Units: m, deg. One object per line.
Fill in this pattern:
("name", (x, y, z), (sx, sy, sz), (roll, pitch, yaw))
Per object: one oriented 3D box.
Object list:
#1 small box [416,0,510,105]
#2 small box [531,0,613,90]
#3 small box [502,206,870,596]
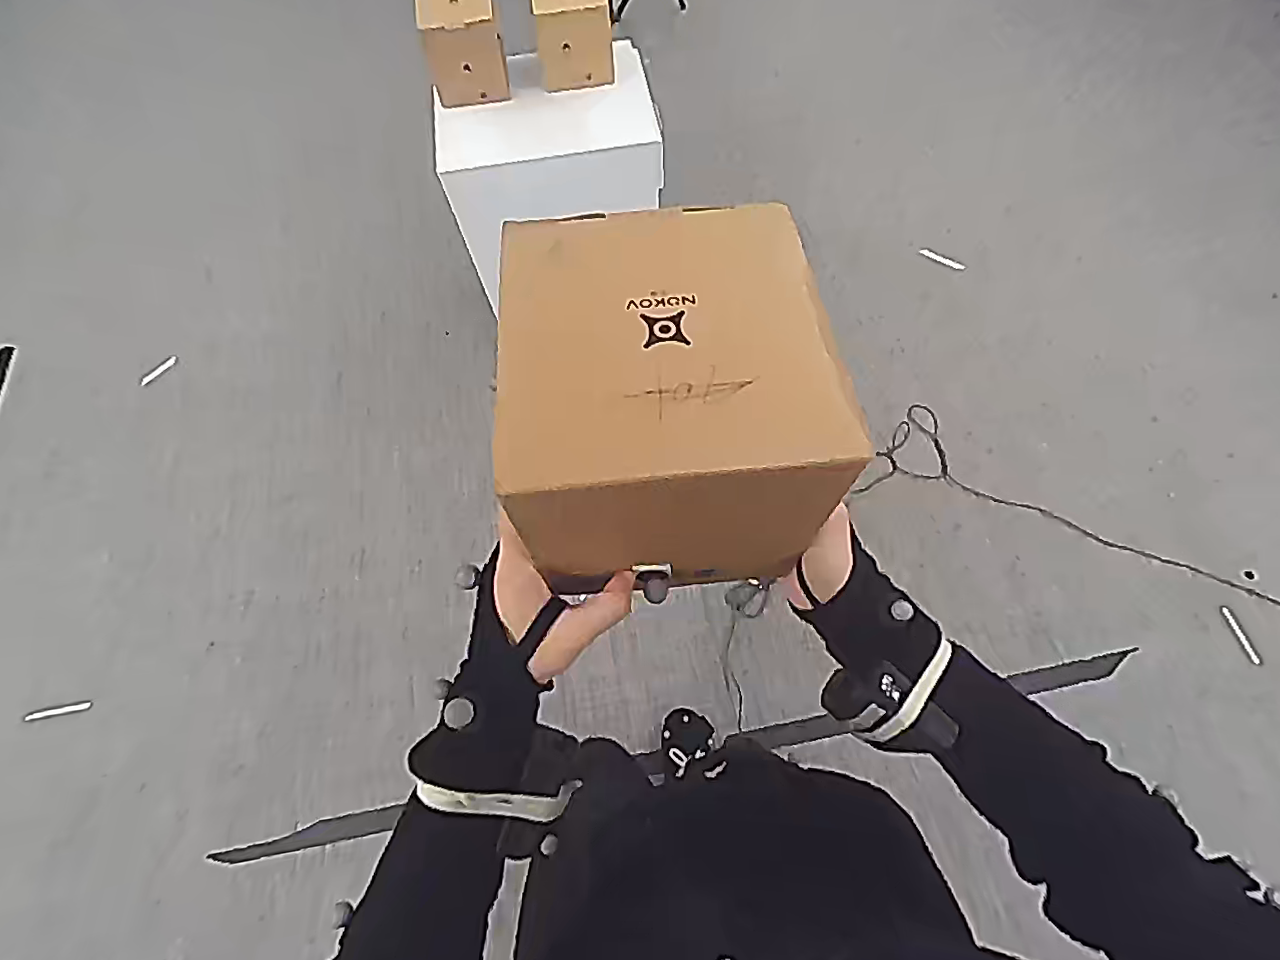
("small box", (-0.406, -1.006, 1.257), (0.168, 0.176, 0.179), (-9, 69, -3))
("small box", (-0.159, -1.052, 1.270), (0.168, 0.176, 0.179), (-10, 67, -2))
("small box", (0.014, -0.040, 0.346), (0.168, 0.176, 0.179), (-6, 63, -2))
